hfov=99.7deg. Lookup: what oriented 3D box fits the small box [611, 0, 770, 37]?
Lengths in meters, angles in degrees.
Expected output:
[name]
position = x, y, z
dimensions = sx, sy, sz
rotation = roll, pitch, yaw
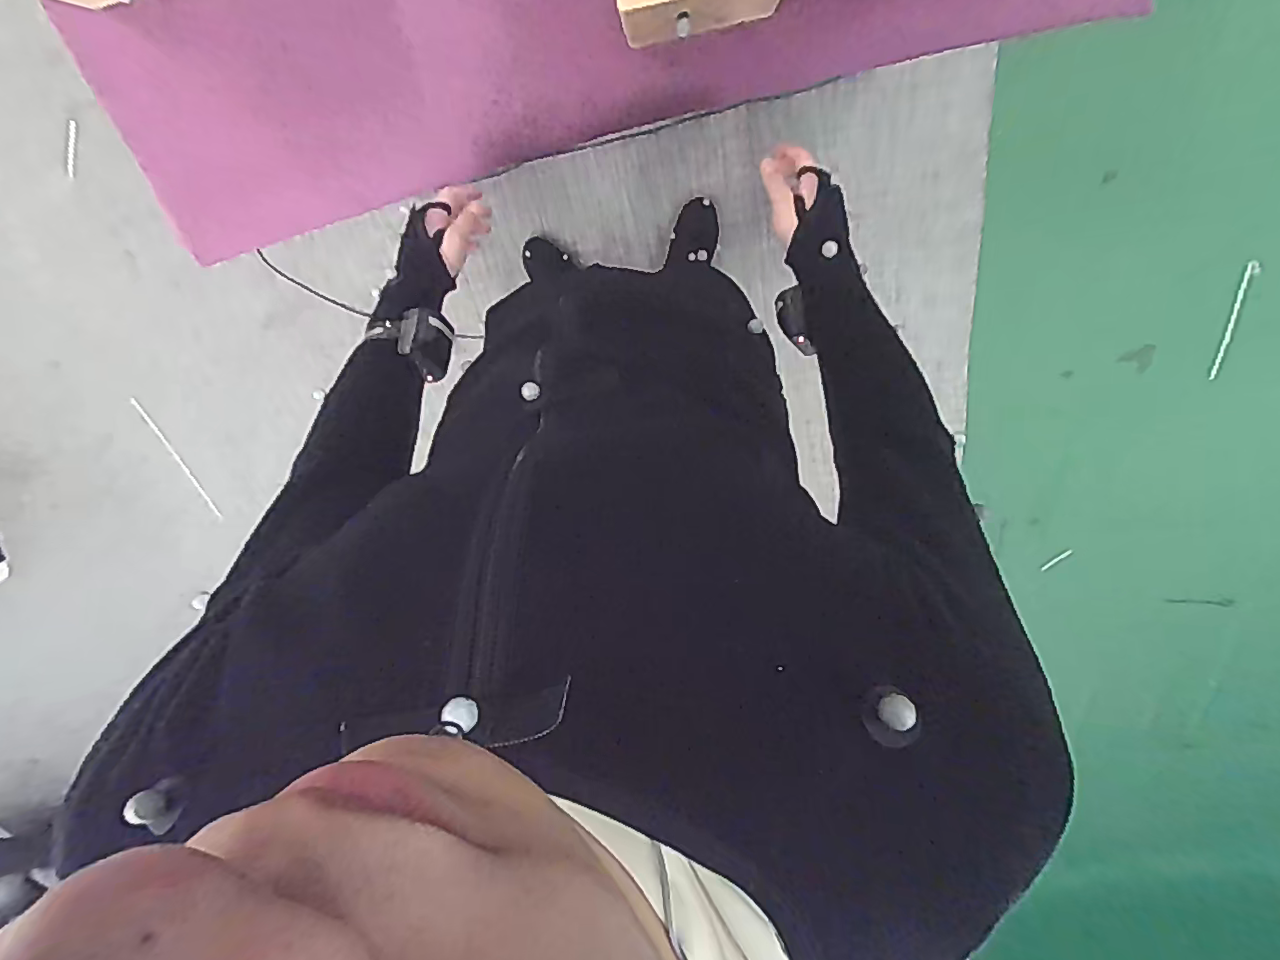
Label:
[small box]
position = 0.047, -0.549, 0.507
dimensions = 0.168, 0.176, 0.179
rotation = -7, 118, 8
